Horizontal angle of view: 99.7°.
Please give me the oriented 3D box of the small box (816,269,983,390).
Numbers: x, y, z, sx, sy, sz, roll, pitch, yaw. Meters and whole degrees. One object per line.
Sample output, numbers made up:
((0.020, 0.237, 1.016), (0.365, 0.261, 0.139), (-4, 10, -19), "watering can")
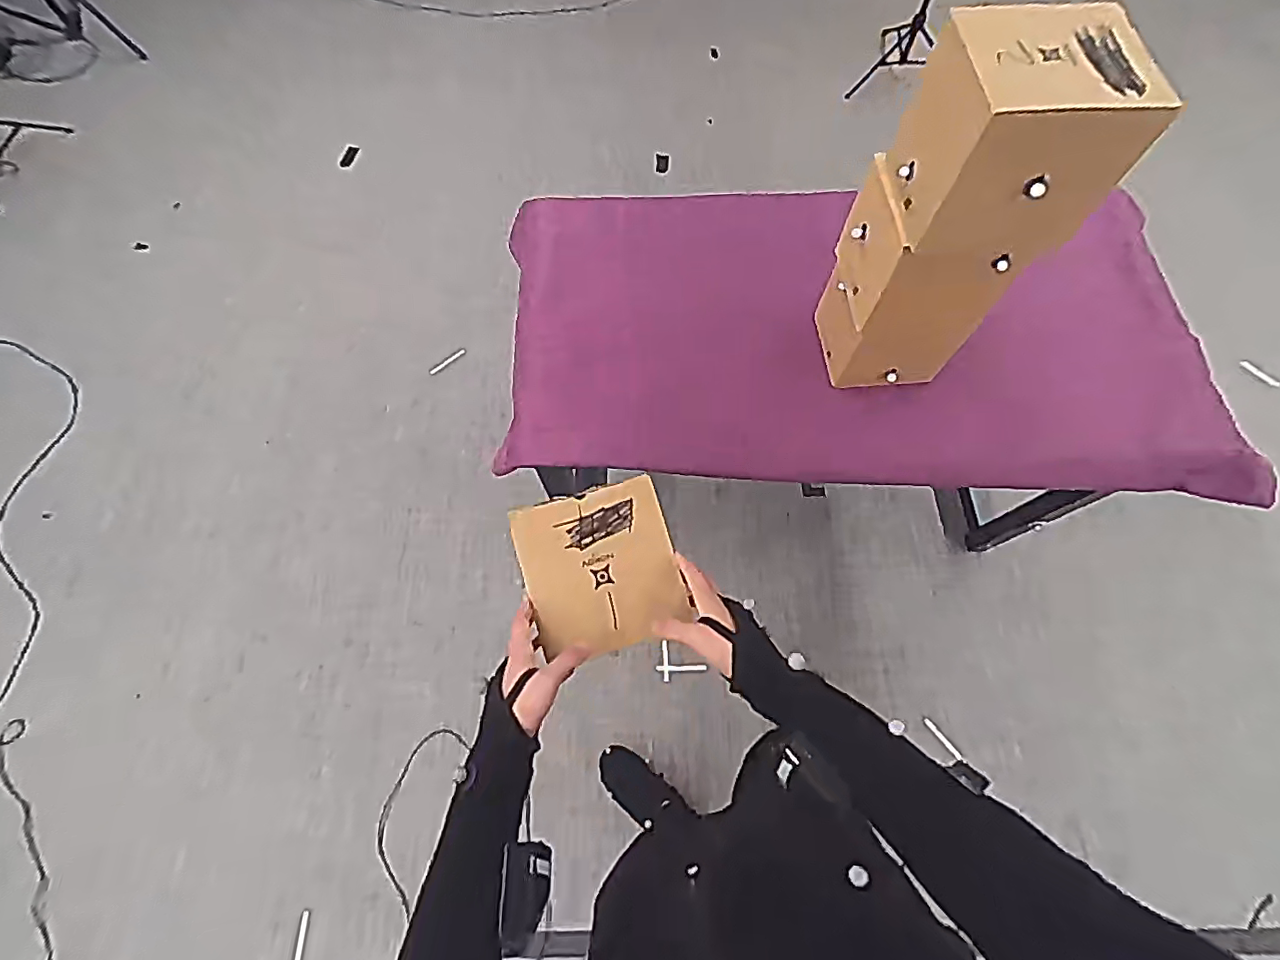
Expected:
((0.416, -0.266, 0.899), (0.179, 0.176, 0.168), (-4, 66, -1), "small box")

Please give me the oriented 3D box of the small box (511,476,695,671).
((-0.051, 0.113, 0.658), (0.168, 0.176, 0.179), (-16, 81, -10), "small box")

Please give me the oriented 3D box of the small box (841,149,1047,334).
((0.394, -0.318, 0.745), (0.179, 0.176, 0.168), (-4, 67, -1), "small box")
